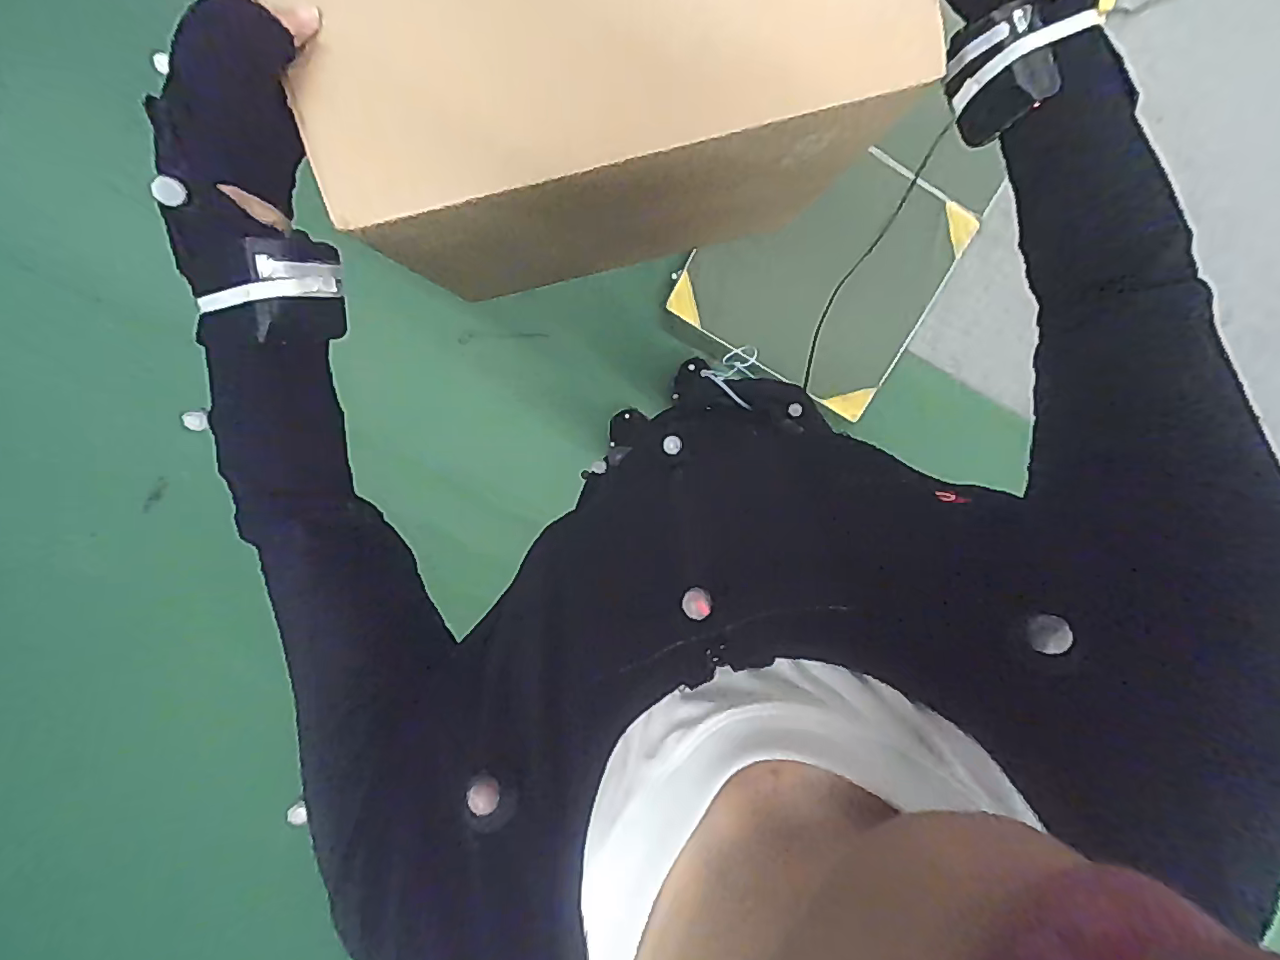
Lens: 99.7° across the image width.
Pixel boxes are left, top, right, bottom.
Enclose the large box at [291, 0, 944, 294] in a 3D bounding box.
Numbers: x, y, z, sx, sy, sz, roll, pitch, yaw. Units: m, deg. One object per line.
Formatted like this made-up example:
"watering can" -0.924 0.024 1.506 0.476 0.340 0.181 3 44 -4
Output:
"large box" -0.037 -0.390 0.473 0.408 0.320 0.320 -14 100 -1
